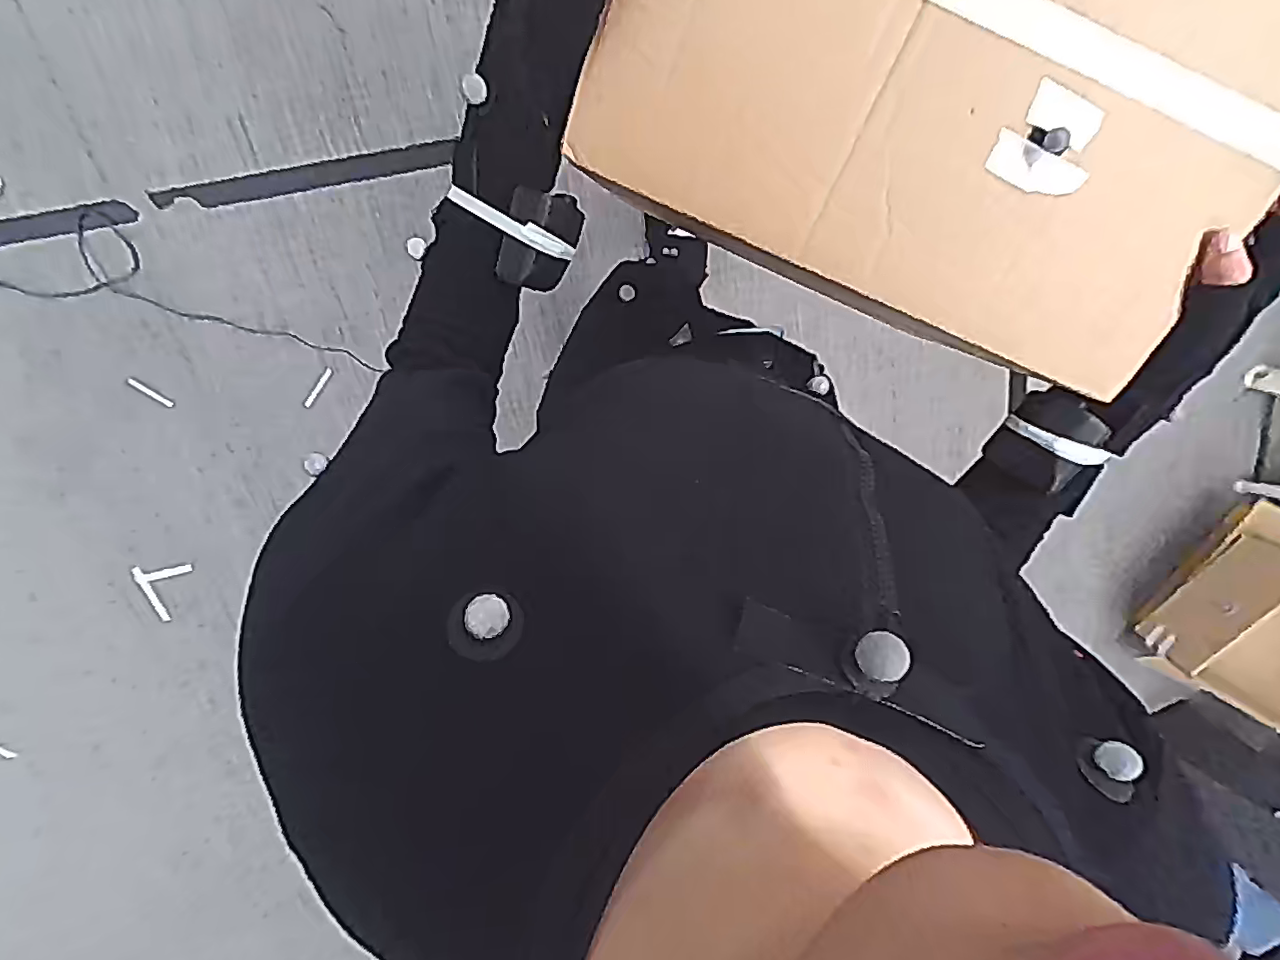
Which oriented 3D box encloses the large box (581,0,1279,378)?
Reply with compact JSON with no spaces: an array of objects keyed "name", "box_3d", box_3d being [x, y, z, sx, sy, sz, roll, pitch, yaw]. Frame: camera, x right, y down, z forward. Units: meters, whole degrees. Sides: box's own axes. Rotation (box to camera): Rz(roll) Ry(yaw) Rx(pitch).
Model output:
[{"name":"large box","box_3d":[0.206,-0.328,0.448,0.408,0.320,0.320,22,114,-5]}]
